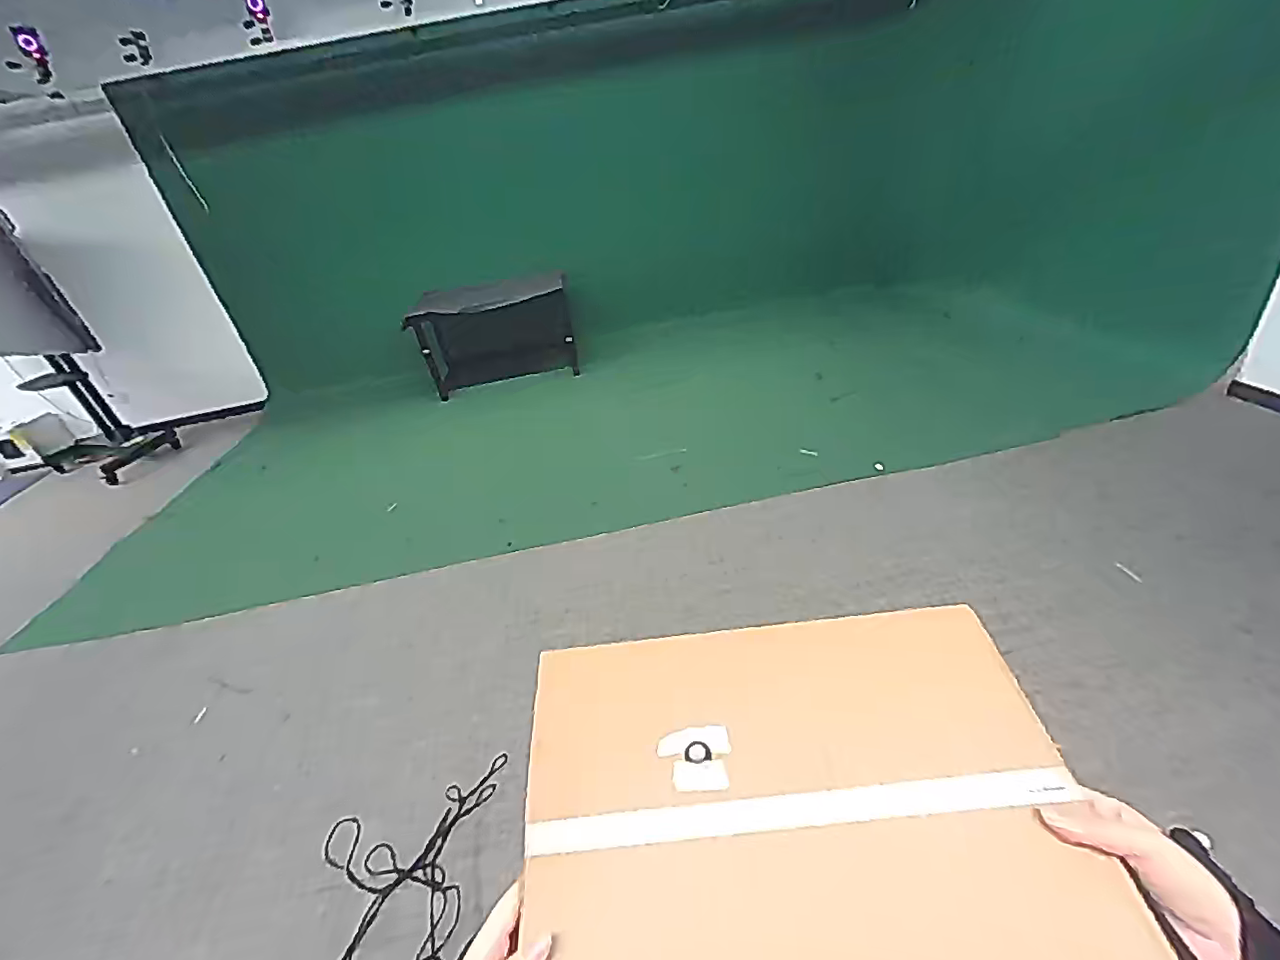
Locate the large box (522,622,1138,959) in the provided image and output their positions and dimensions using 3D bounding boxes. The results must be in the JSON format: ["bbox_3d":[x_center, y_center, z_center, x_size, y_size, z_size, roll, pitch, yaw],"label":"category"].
[{"bbox_3d":[0.133,0.372,0.512,0.408,0.320,0.320,-9,44,4],"label":"large box"}]
